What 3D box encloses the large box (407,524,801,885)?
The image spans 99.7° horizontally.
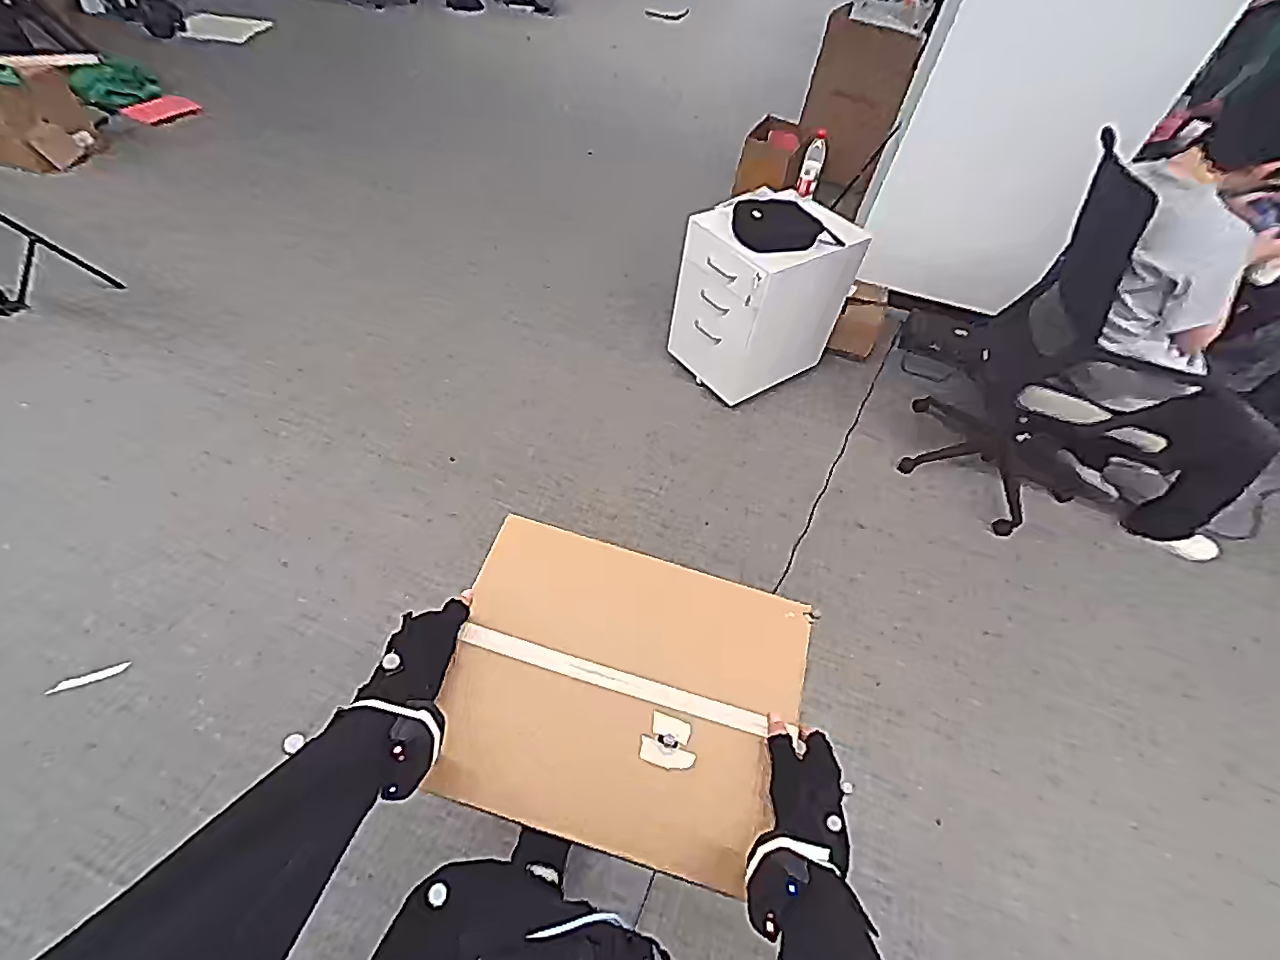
[{"bbox_3d":[-0.036,0.310,0.758,0.408,0.320,0.320,17,59,3],"label":"large box"}]
